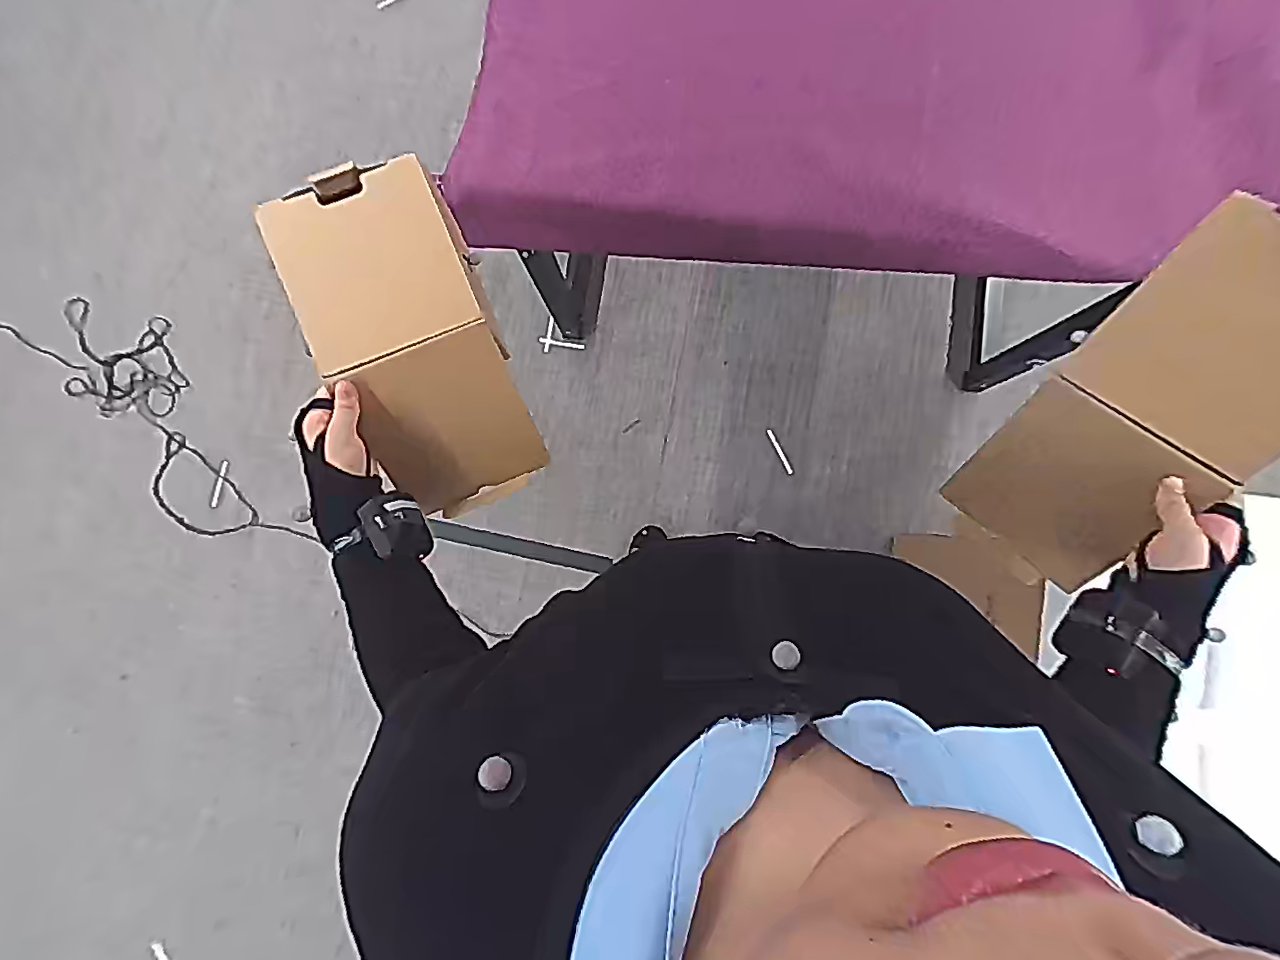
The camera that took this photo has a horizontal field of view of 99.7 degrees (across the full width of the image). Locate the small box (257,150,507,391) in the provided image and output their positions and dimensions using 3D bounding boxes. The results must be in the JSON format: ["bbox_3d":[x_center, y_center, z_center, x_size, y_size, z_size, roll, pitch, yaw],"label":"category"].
[{"bbox_3d":[-0.261,-0.208,0.594,0.168,0.176,0.179,-22,91,-5],"label":"small box"}]
